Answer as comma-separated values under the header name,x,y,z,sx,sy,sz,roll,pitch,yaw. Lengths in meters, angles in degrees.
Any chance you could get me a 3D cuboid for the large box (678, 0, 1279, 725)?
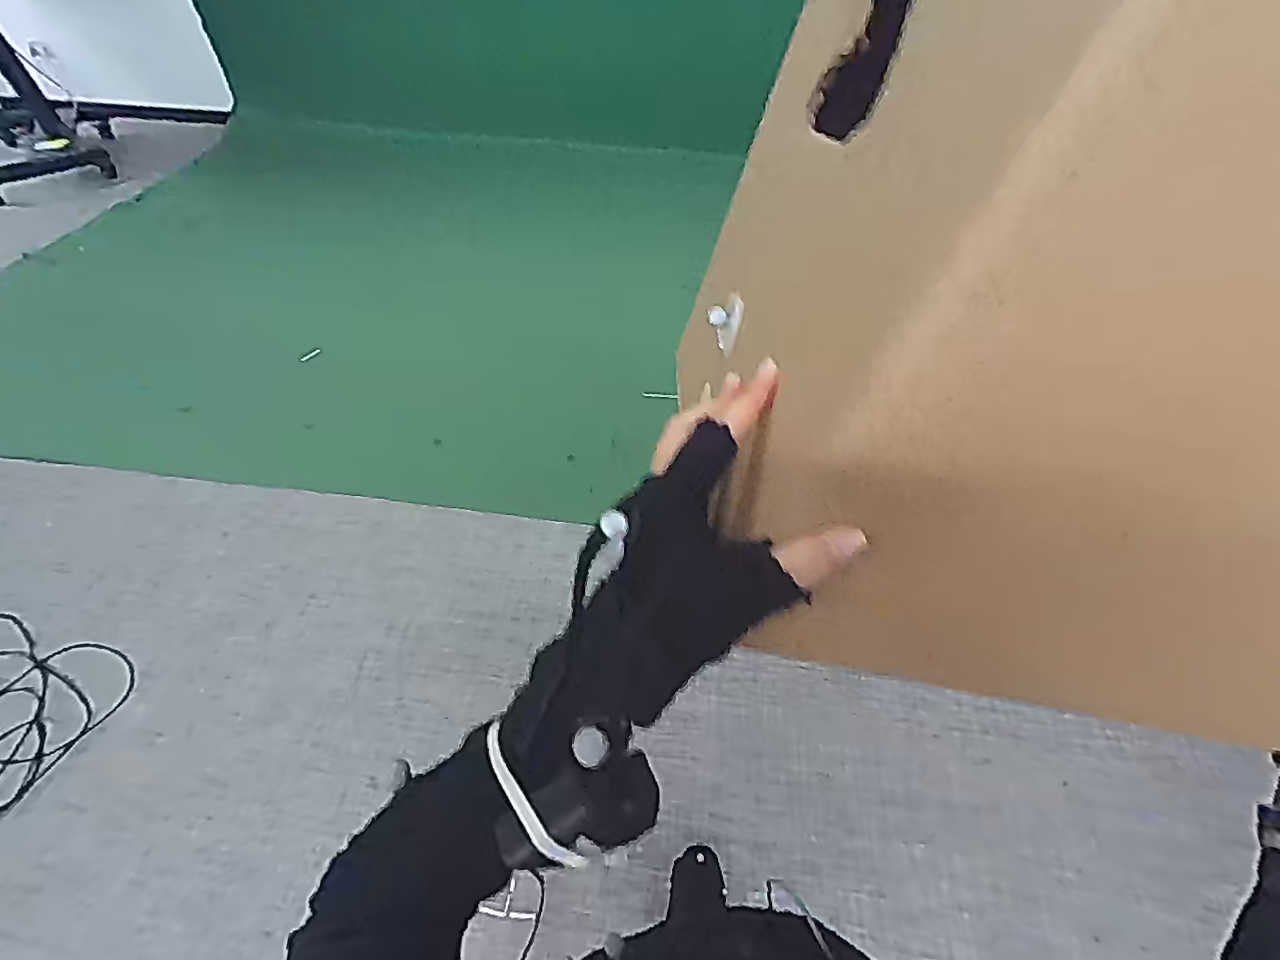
name,x,y,z,sx,sy,sz,roll,pitch,yaw
large box,0.270,-0.089,0.331,0.408,0.320,0.320,14,36,-11
